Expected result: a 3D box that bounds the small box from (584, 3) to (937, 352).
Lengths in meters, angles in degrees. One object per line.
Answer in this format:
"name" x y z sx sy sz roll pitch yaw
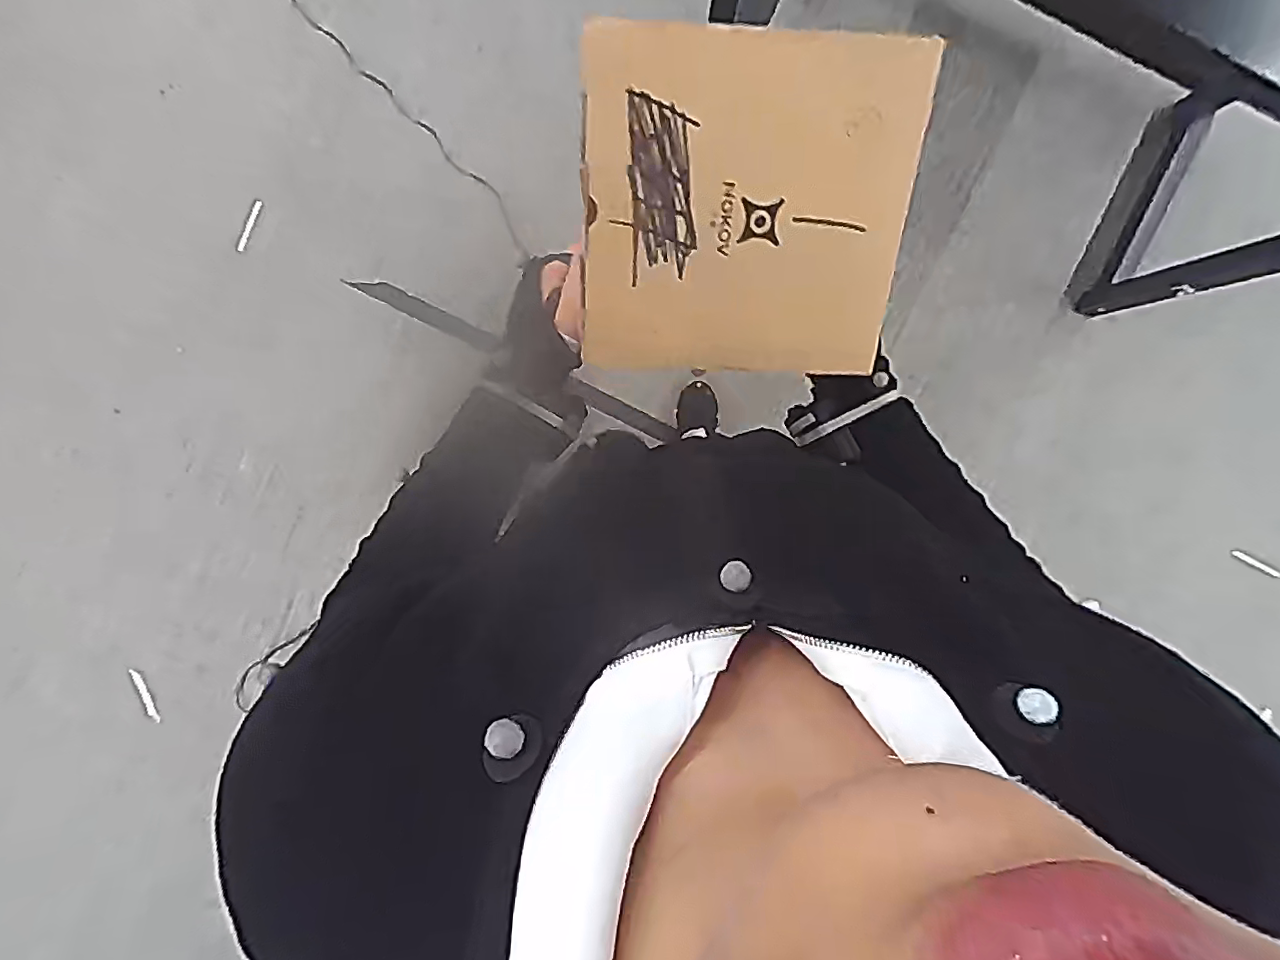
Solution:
"small box" 0.057 -0.187 0.369 0.179 0.176 0.168 1 114 -2
